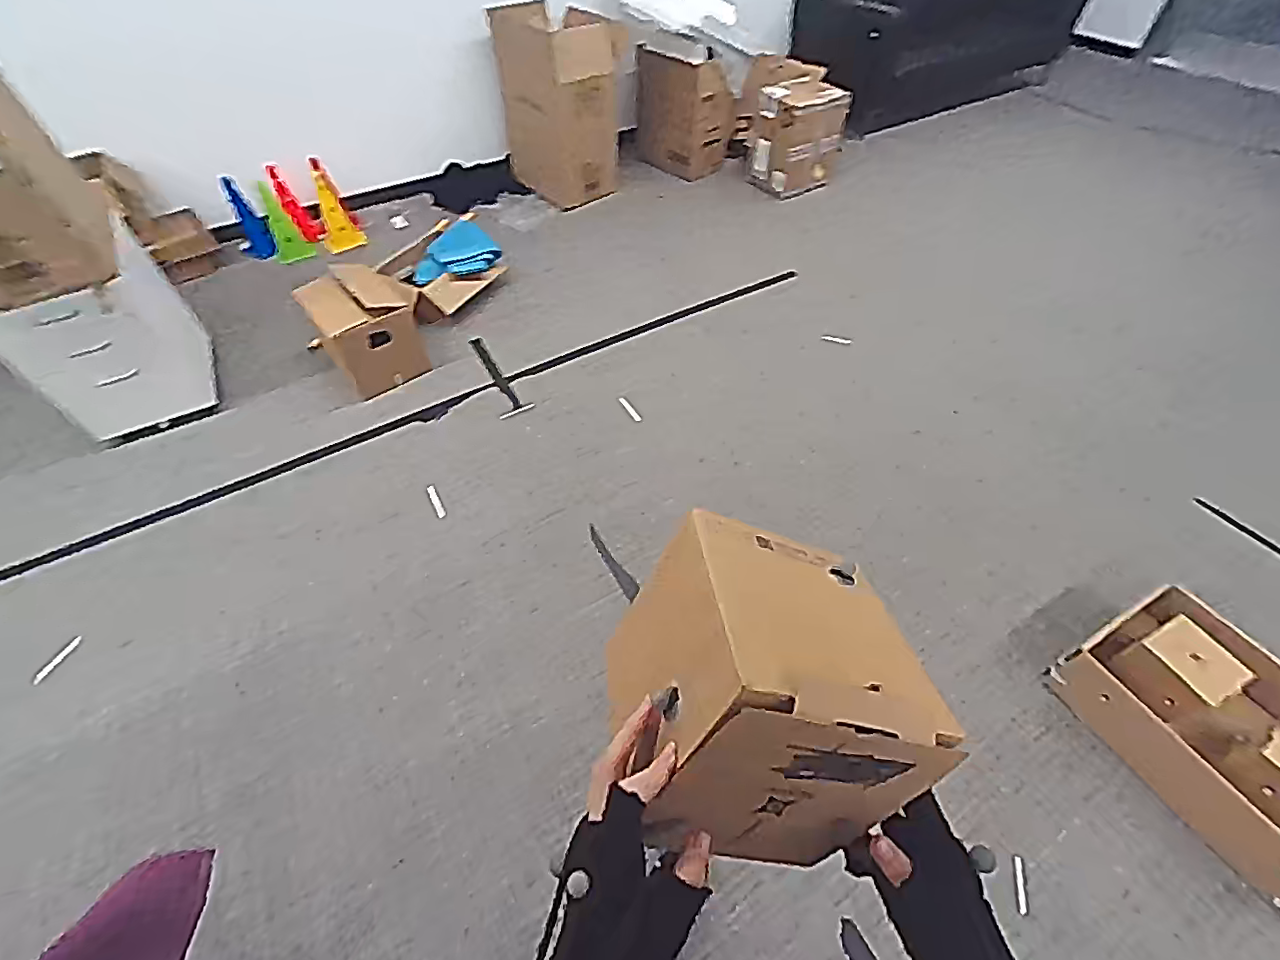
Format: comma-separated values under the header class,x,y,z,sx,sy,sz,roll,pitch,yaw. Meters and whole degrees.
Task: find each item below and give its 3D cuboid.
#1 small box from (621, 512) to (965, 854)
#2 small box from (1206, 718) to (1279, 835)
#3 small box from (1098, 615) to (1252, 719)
class,x,y,z,sx,sy,sz,roll,pitch,yaw
small box,0.090,0.152,0.420,0.168,0.179,0.176,19,29,-17
small box,1.449,0.661,1.204,0.168,0.176,0.179,-24,52,-16
small box,1.328,0.477,1.356,0.168,0.176,0.179,-22,54,-16
